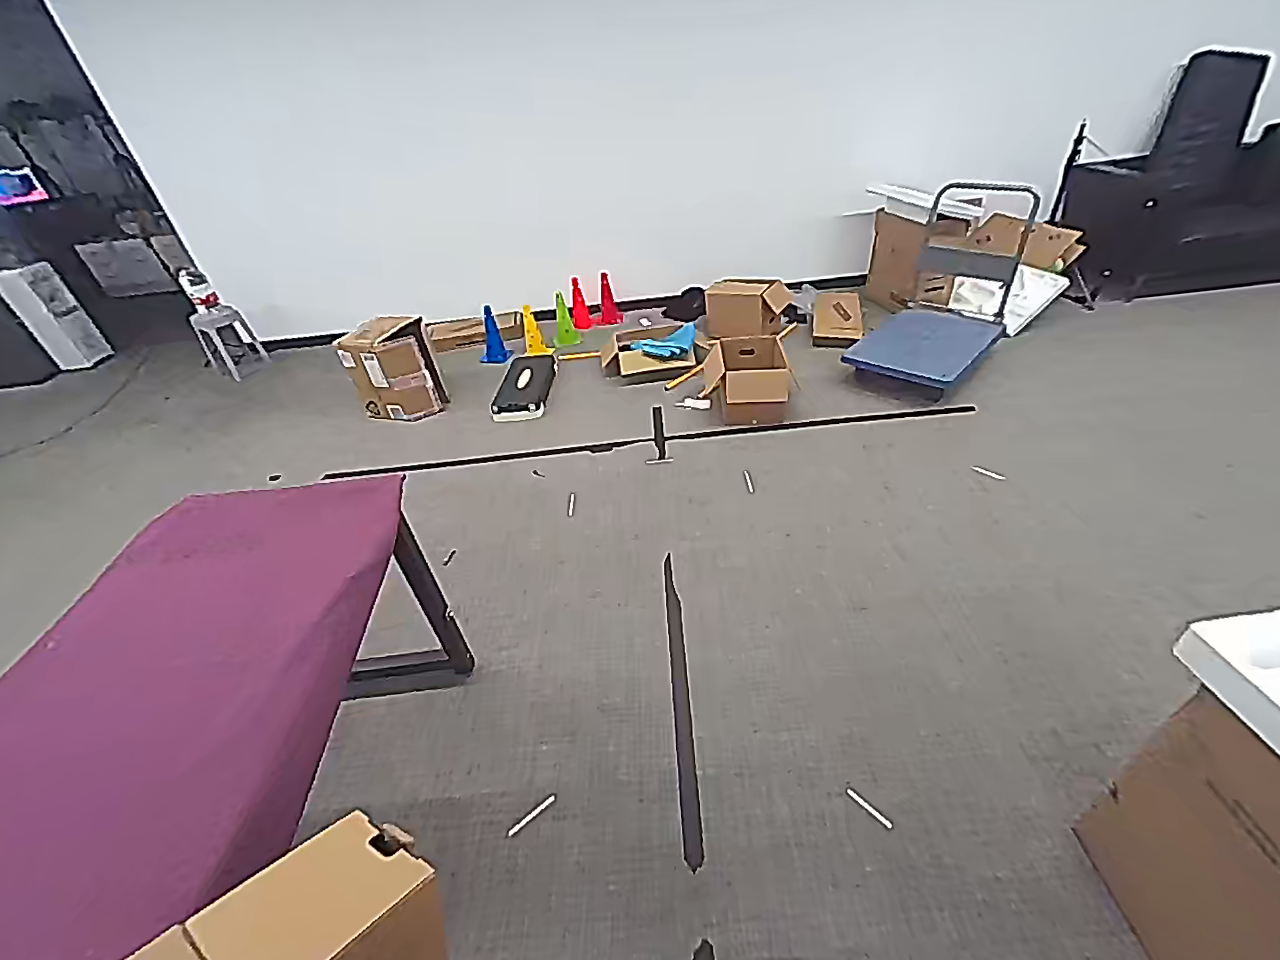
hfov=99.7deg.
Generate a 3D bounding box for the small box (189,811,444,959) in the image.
[{"bbox_3d":[-0.323,0.504,0.563,0.168,0.176,0.179,3,10,35],"label":"small box"}]
